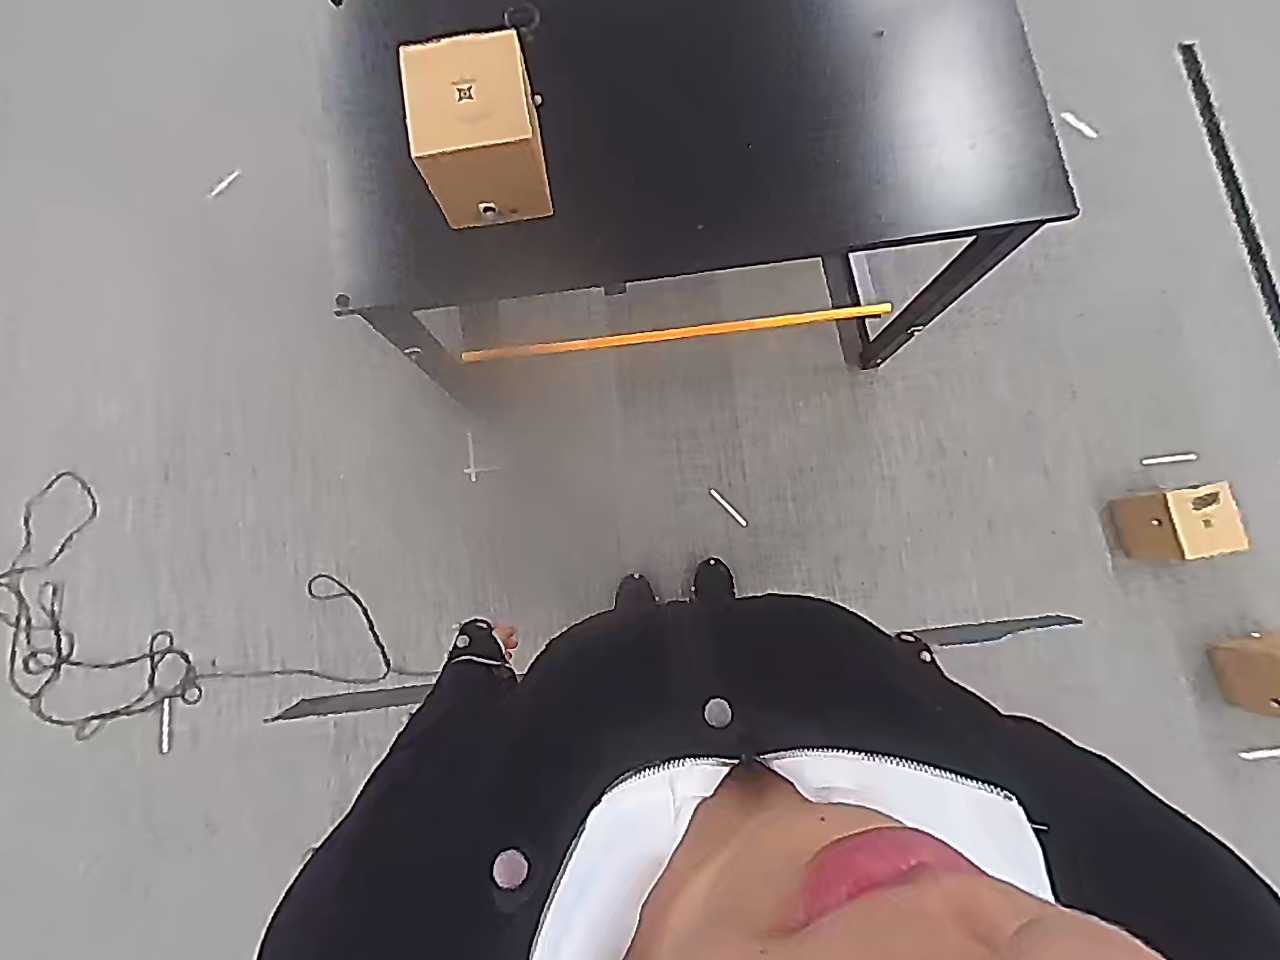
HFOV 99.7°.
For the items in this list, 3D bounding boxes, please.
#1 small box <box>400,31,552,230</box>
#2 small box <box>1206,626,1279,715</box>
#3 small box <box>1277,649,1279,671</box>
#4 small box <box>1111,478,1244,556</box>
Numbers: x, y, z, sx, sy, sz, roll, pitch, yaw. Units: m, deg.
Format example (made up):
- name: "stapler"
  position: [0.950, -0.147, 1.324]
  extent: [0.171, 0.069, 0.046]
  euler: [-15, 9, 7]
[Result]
- name: "small box"
  position: [-0.237, -0.514, 0.814]
  extent: [0.168, 0.176, 0.179]
  euler: [-11, 82, 0]
- name: "small box"
  position: [1.631, 0.486, 1.381]
  extent: [0.168, 0.176, 0.179]
  euler: [-14, 81, -2]
- name: "small box"
  position: [1.621, 0.460, 1.219]
  extent: [0.179, 0.176, 0.168]
  euler: [-15, 82, -1]
- name: "small box"
  position: [1.415, 0.104, 1.440]
  extent: [0.168, 0.176, 0.179]
  euler: [-11, 82, -1]
